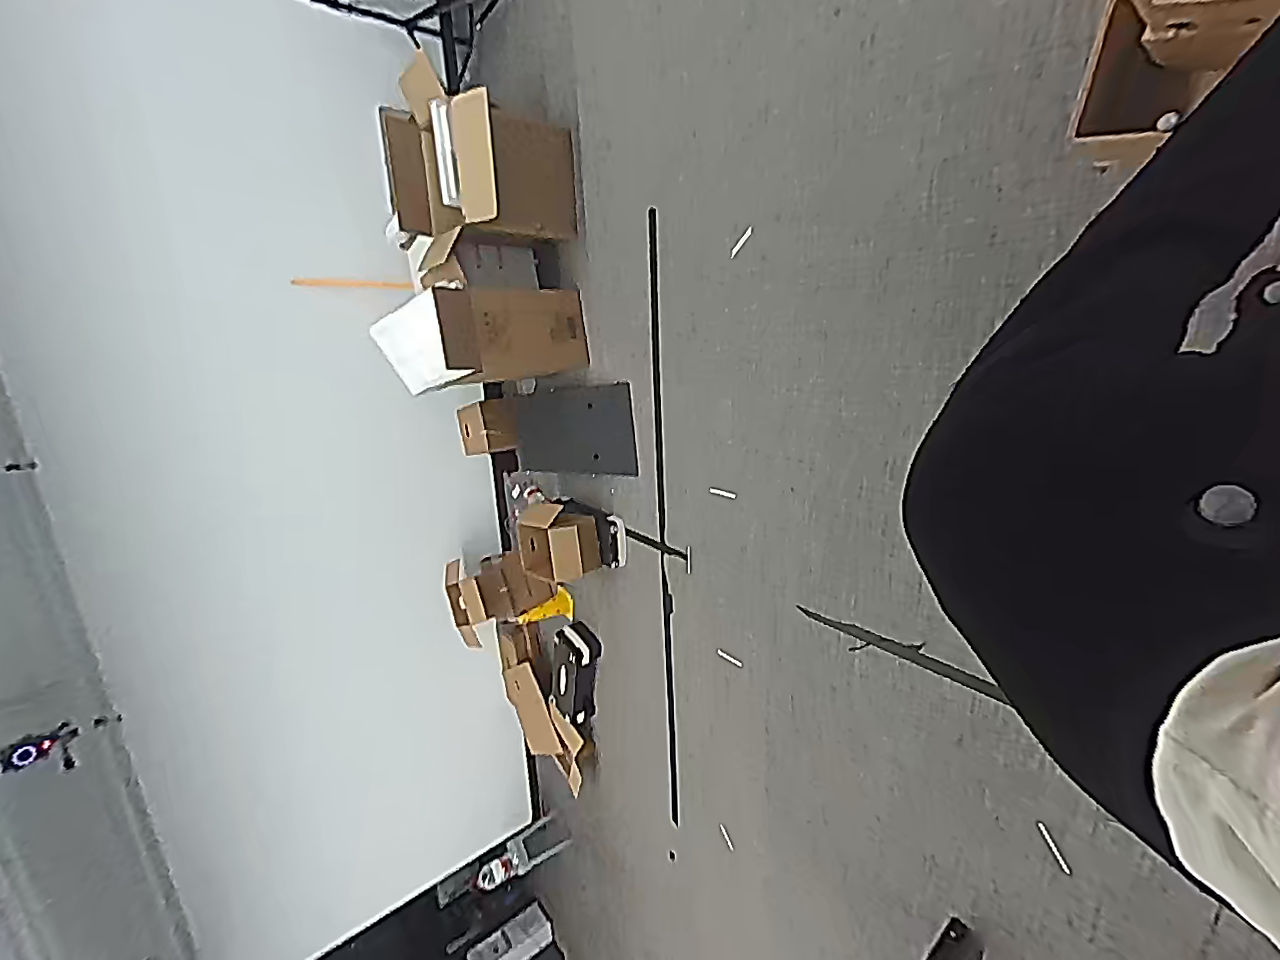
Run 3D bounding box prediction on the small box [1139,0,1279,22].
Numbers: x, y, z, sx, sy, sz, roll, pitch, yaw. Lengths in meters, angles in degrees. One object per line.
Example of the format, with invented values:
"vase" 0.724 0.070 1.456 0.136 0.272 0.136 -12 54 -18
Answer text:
"small box" 0.695 -0.638 0.594 0.168 0.176 0.179 37 127 41
